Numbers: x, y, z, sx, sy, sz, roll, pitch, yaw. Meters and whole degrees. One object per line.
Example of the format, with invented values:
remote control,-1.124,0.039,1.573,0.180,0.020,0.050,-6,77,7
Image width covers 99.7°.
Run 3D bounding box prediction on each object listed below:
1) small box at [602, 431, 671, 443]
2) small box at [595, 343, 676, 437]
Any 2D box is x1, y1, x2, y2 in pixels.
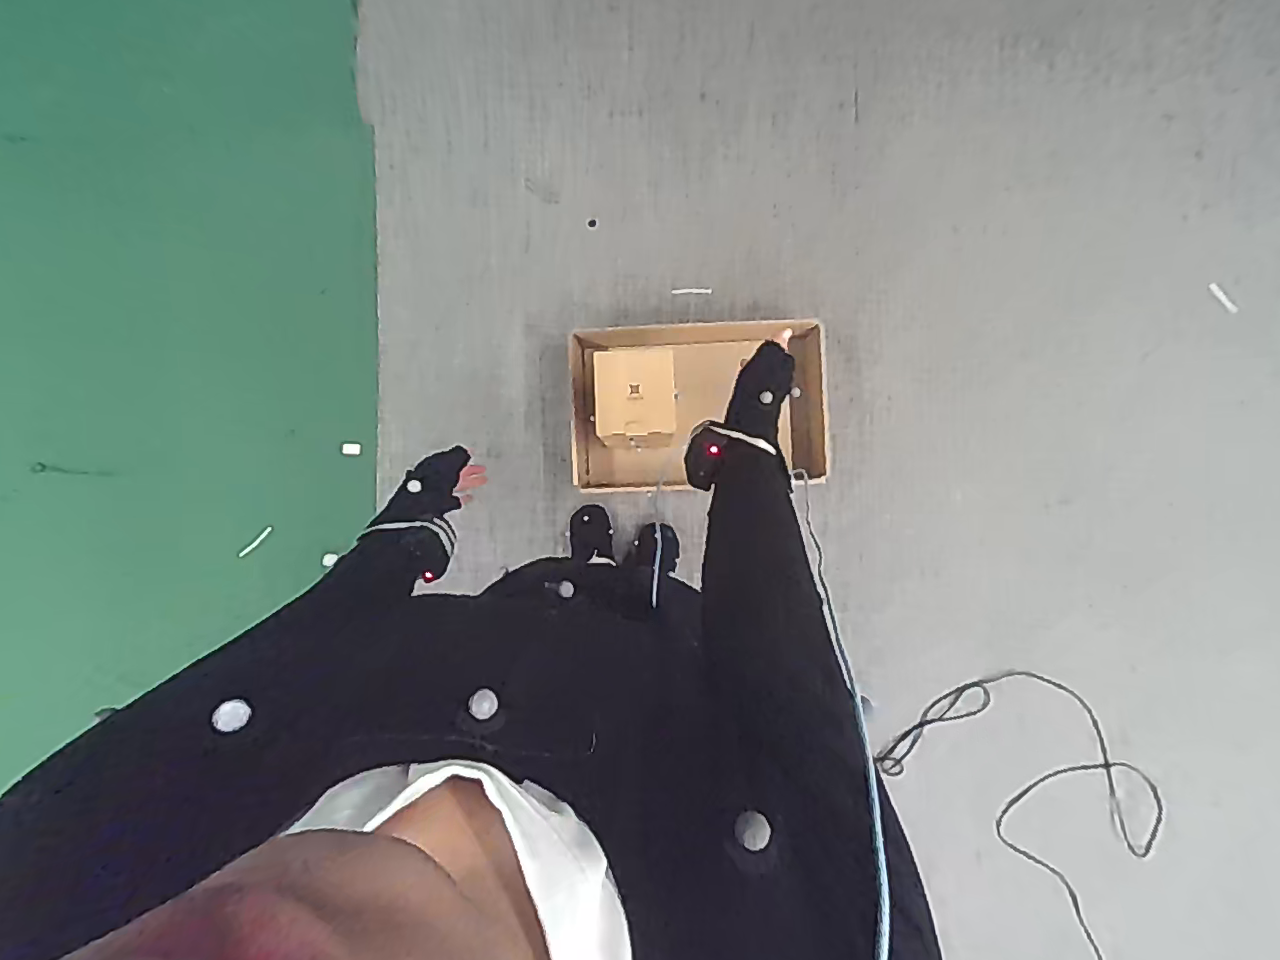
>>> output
small box,-0.007,-0.188,1.345,0.168,0.176,0.179,0,90,1
small box,-0.010,-0.190,1.182,0.168,0.176,0.179,-2,90,1
